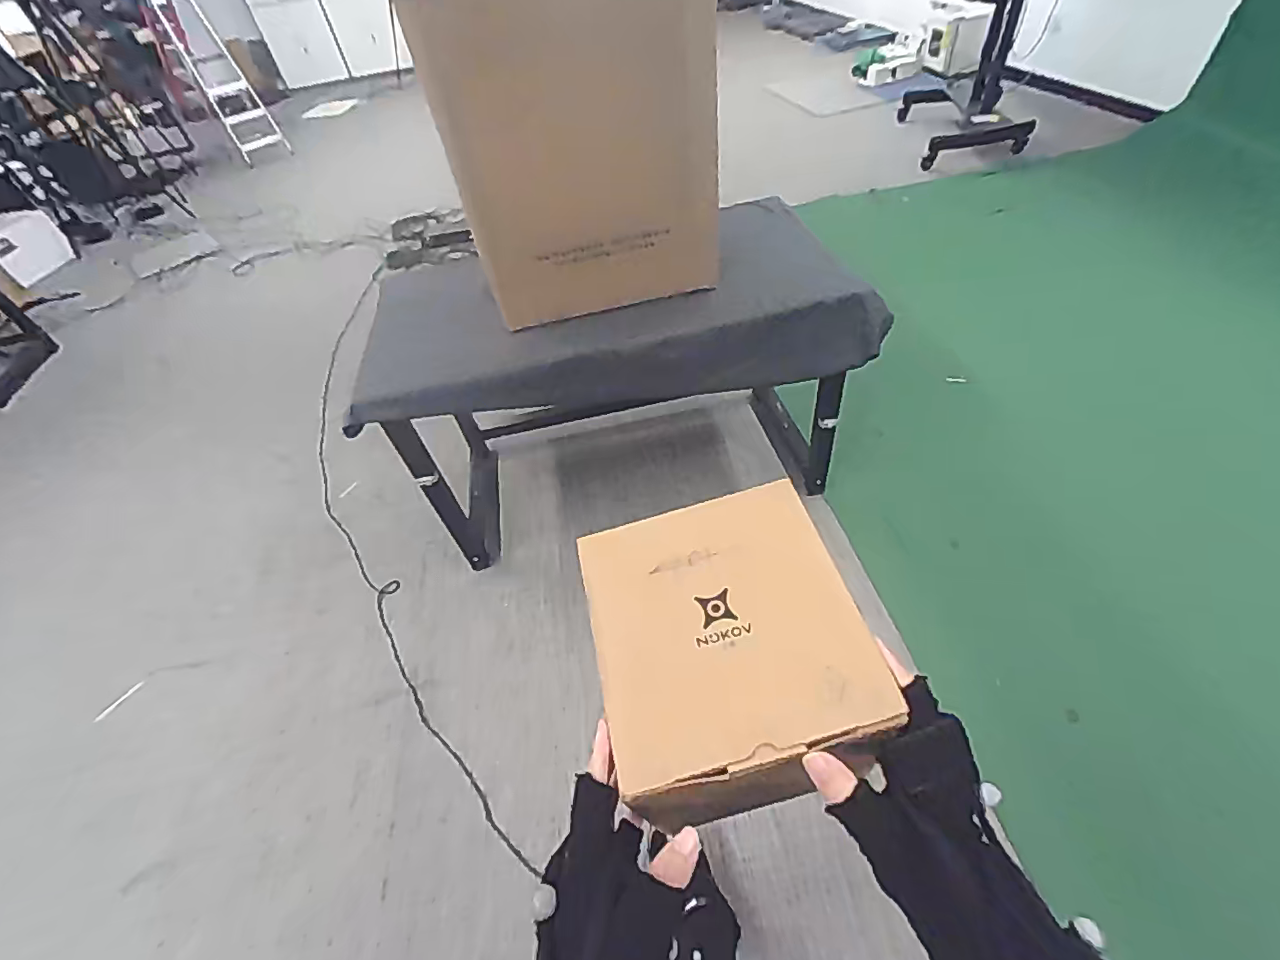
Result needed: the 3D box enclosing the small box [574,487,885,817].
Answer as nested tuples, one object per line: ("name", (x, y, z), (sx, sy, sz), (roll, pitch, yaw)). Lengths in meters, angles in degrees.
("small box", (0.060, 0.140, 0.417), (0.168, 0.176, 0.179), (-16, 49, 0))
